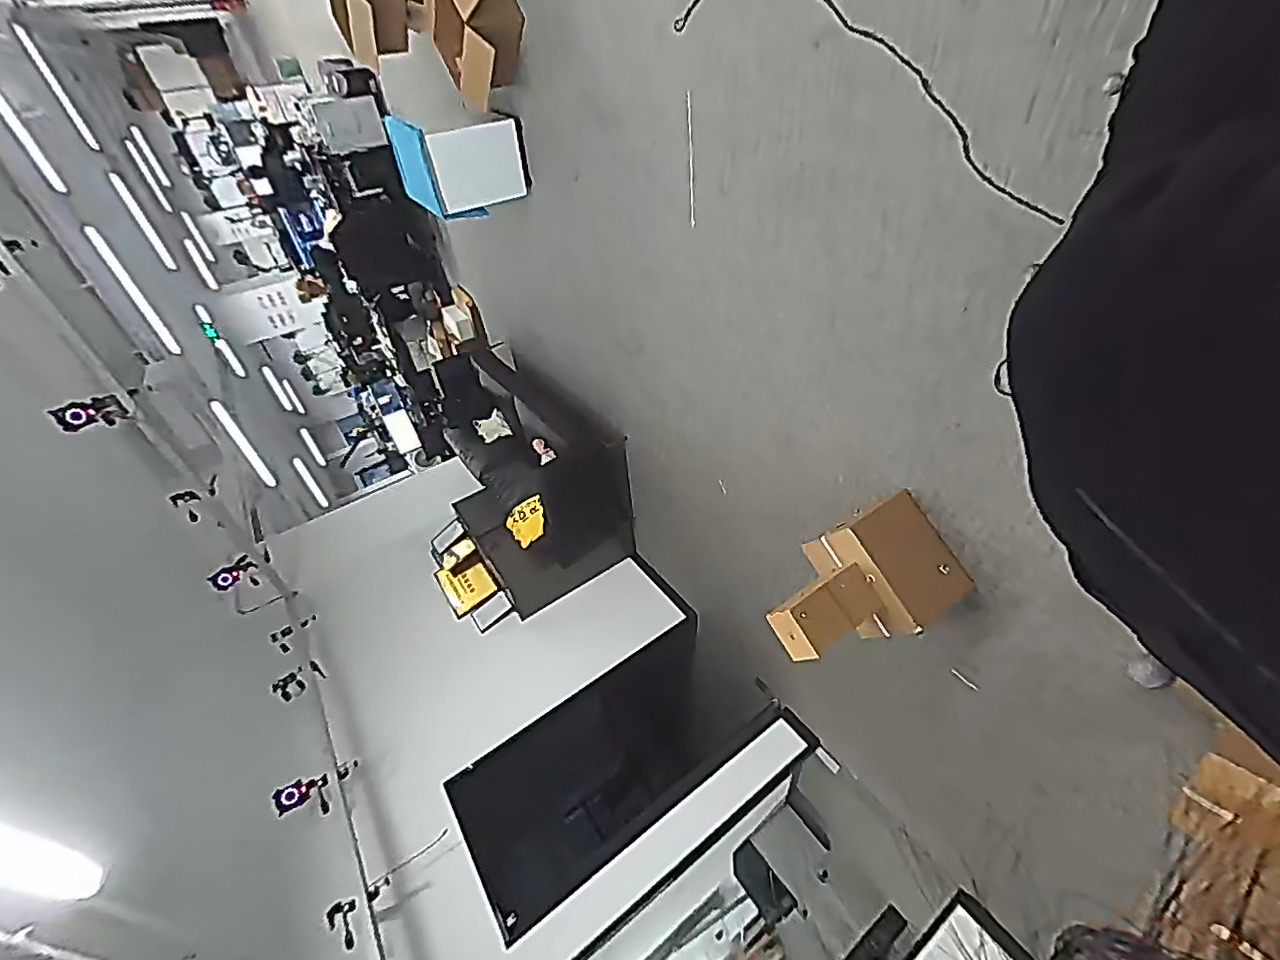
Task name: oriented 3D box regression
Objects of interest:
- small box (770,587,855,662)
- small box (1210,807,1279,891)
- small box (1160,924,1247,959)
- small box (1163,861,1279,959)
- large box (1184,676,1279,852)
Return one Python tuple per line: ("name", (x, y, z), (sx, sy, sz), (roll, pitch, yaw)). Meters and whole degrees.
("small box", (0.579, 0.484, 1.811), (0.179, 0.176, 0.168), (59, 157, 12))
("small box", (1.295, 0.805, 1.074), (0.179, 0.176, 0.168), (34, 143, 49))
("small box", (1.025, 0.947, 0.955), (0.168, 0.176, 0.179), (34, 142, 49))
("small box", (1.156, 0.874, 1.021), (0.168, 0.176, 0.179), (35, 144, 48))
("large box", (1.510, 0.708, 1.147), (0.408, 0.320, 0.320), (28, 141, 51))
